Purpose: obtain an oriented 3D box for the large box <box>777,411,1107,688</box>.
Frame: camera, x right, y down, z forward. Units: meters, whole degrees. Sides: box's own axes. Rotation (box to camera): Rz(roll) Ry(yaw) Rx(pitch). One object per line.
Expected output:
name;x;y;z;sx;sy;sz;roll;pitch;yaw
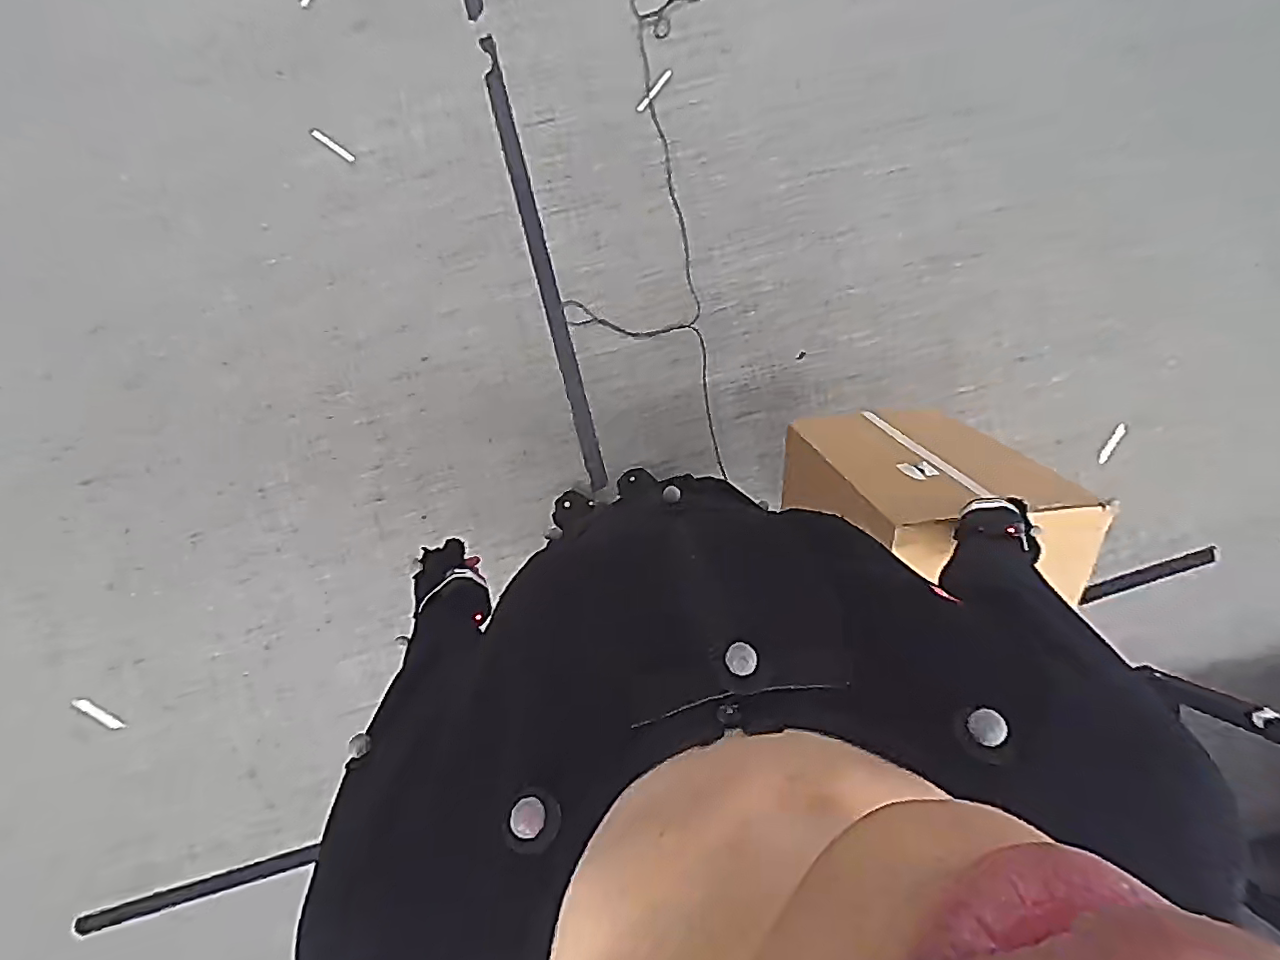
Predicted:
large box;0.473;0.097;0.973;0.320;0.408;0.320;-6;118;-5
